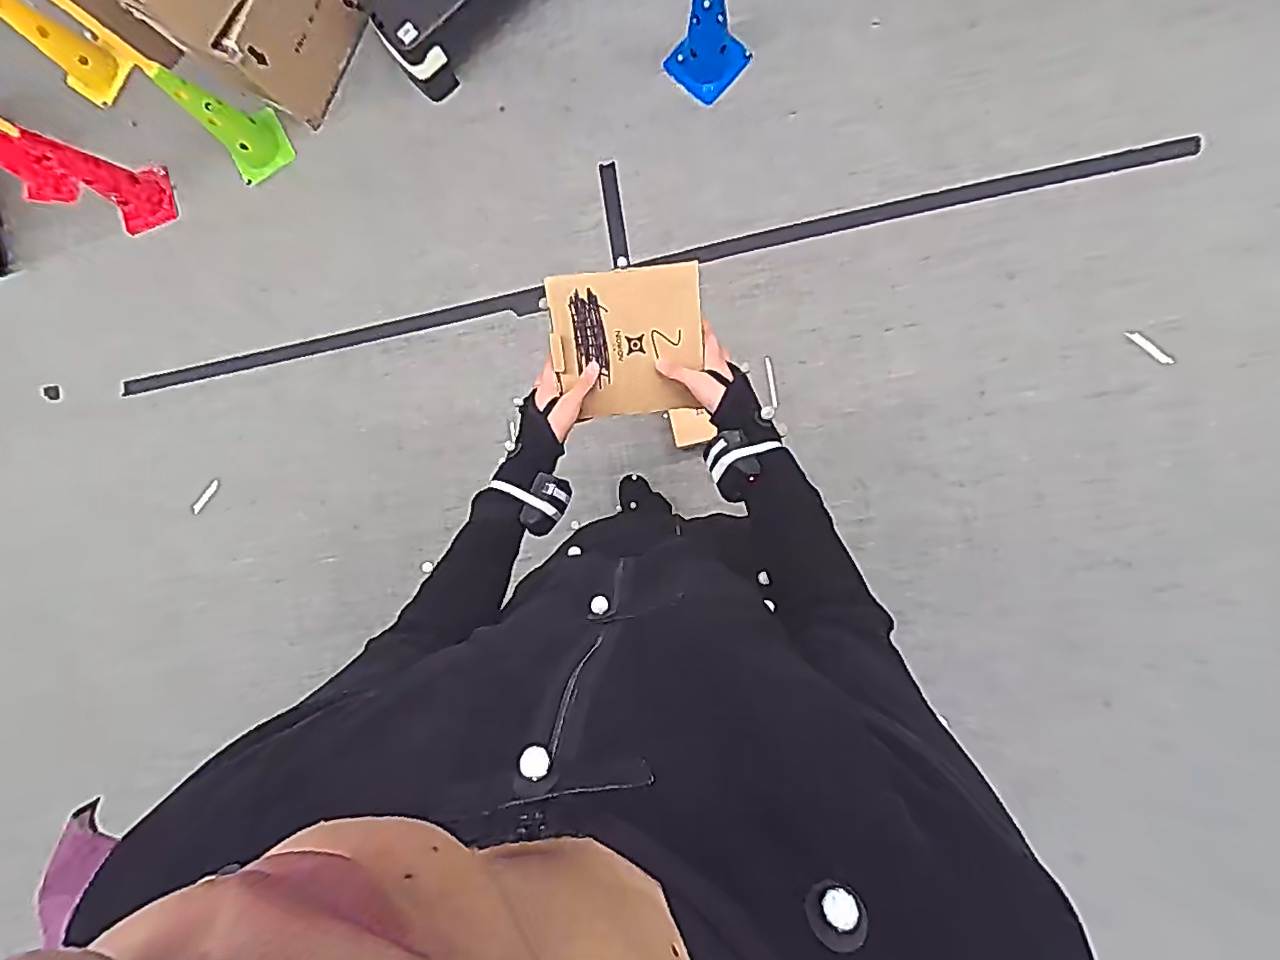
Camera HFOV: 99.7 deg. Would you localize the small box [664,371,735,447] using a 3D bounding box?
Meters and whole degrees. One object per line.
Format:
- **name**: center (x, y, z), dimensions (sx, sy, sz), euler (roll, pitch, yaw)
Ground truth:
- **small box**: center (0.170, -0.193, 1.530), dimensions (0.168, 0.176, 0.179), euler (-13, 89, 7)
